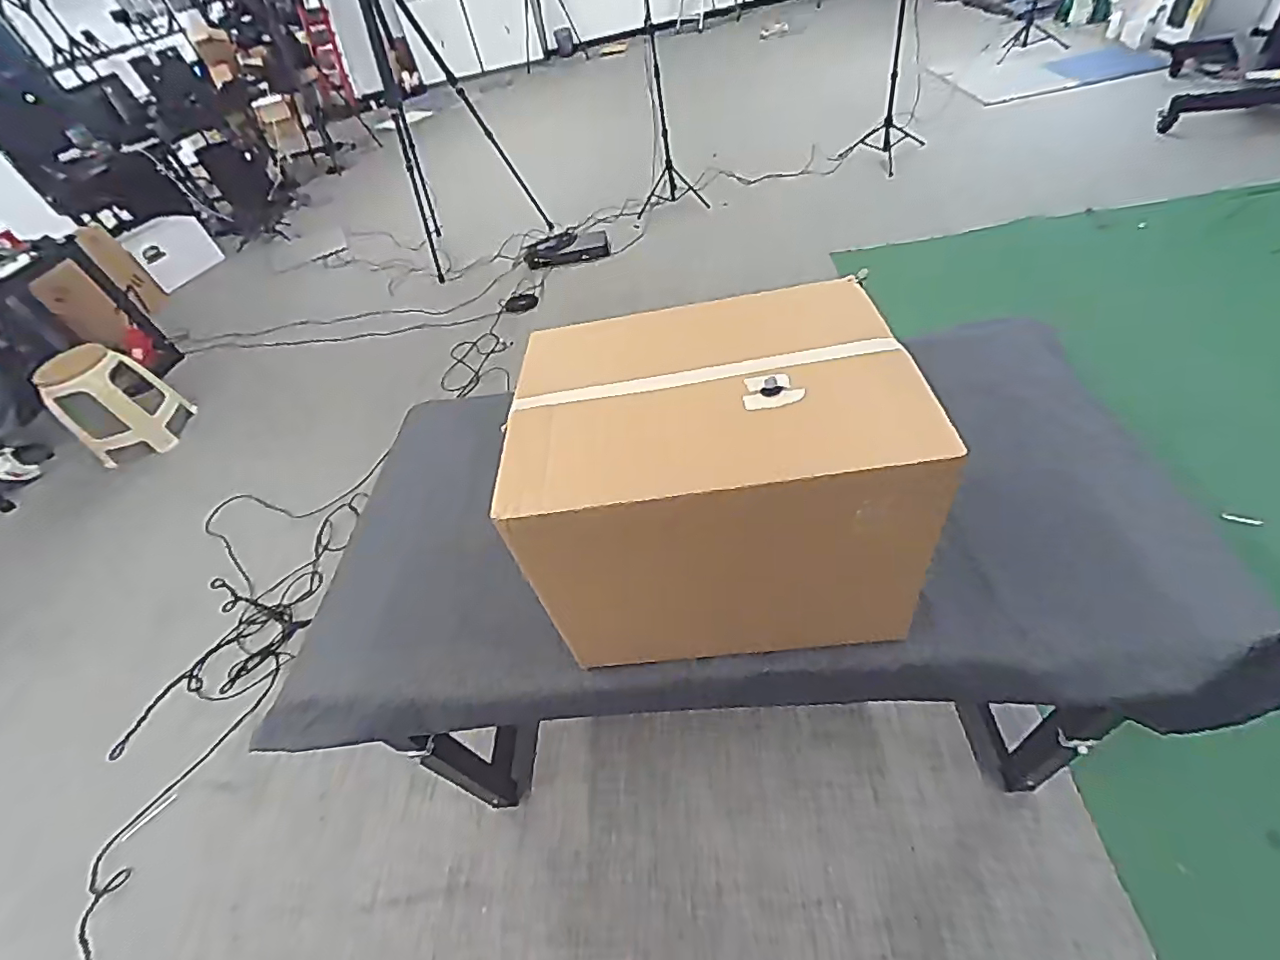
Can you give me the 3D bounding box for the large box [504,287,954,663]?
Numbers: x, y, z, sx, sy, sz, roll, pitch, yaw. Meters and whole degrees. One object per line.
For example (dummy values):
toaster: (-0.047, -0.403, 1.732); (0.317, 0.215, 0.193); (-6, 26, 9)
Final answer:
large box: (0.089, 0.001, 0.677); (0.408, 0.320, 0.320); (-8, 45, 6)
